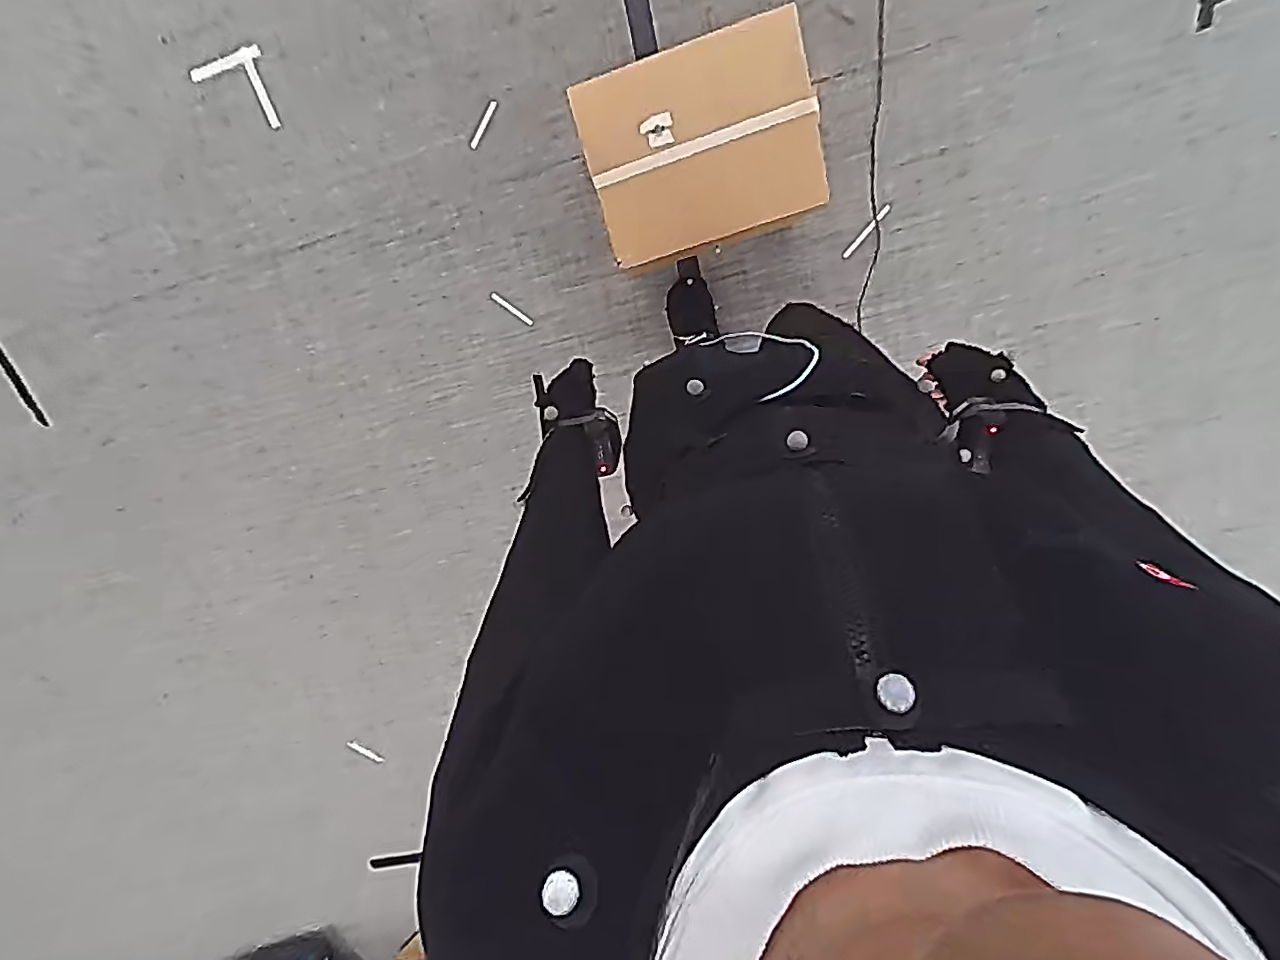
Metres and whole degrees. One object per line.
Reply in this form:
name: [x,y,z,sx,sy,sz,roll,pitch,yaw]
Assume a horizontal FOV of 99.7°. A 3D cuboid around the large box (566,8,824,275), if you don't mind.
large box: [0.112,-0.635,1.098,0.408,0.320,0.320,-15,107,9]
